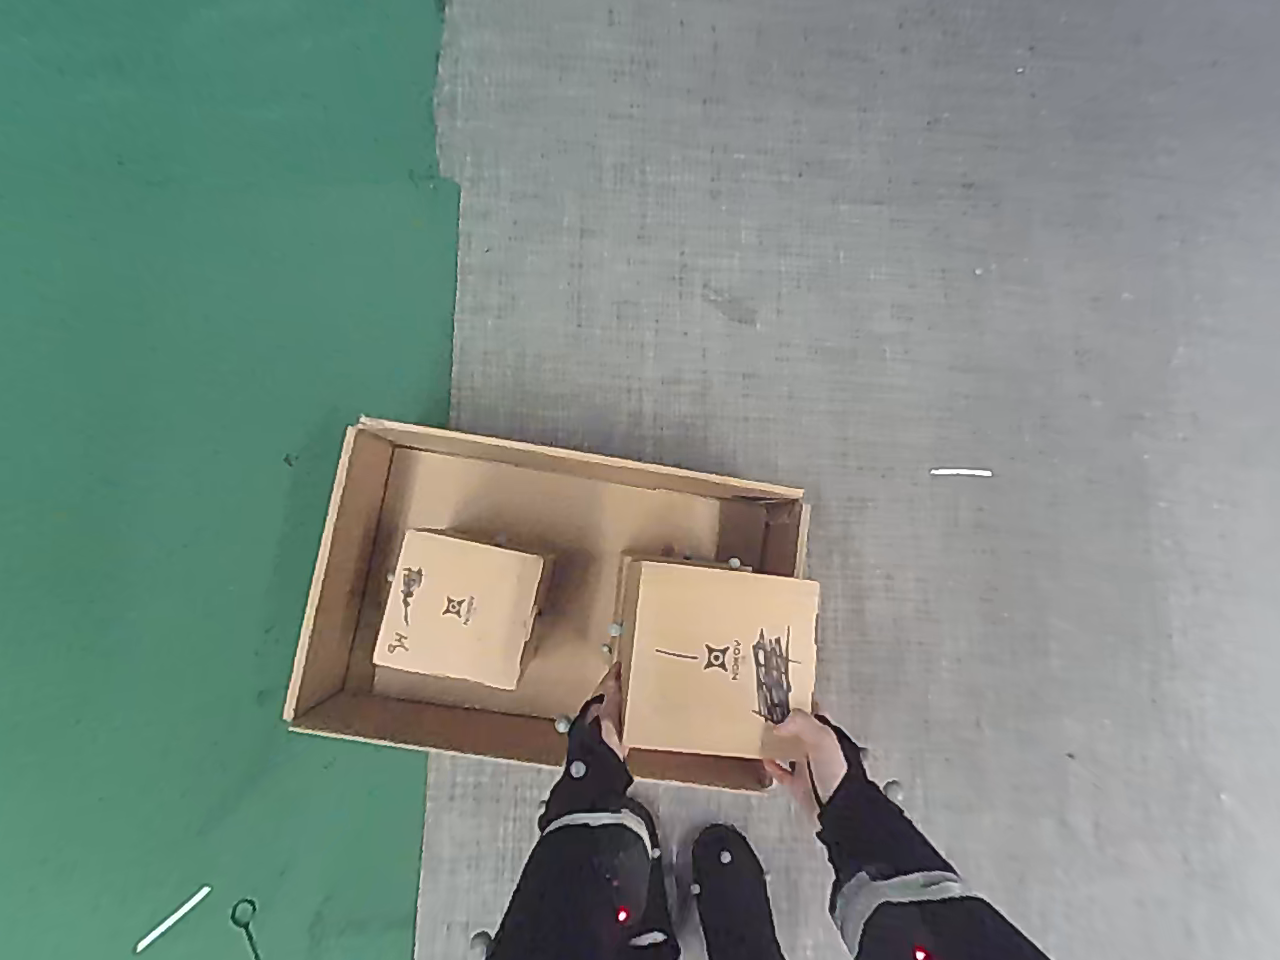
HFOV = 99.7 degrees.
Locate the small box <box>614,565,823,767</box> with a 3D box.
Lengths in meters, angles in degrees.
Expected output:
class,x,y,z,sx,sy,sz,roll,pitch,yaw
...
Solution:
class,x,y,z,sx,sy,sz,roll,pitch,yaw
small box,0.071,0.181,0.572,0.179,0.176,0.168,7,79,-4
